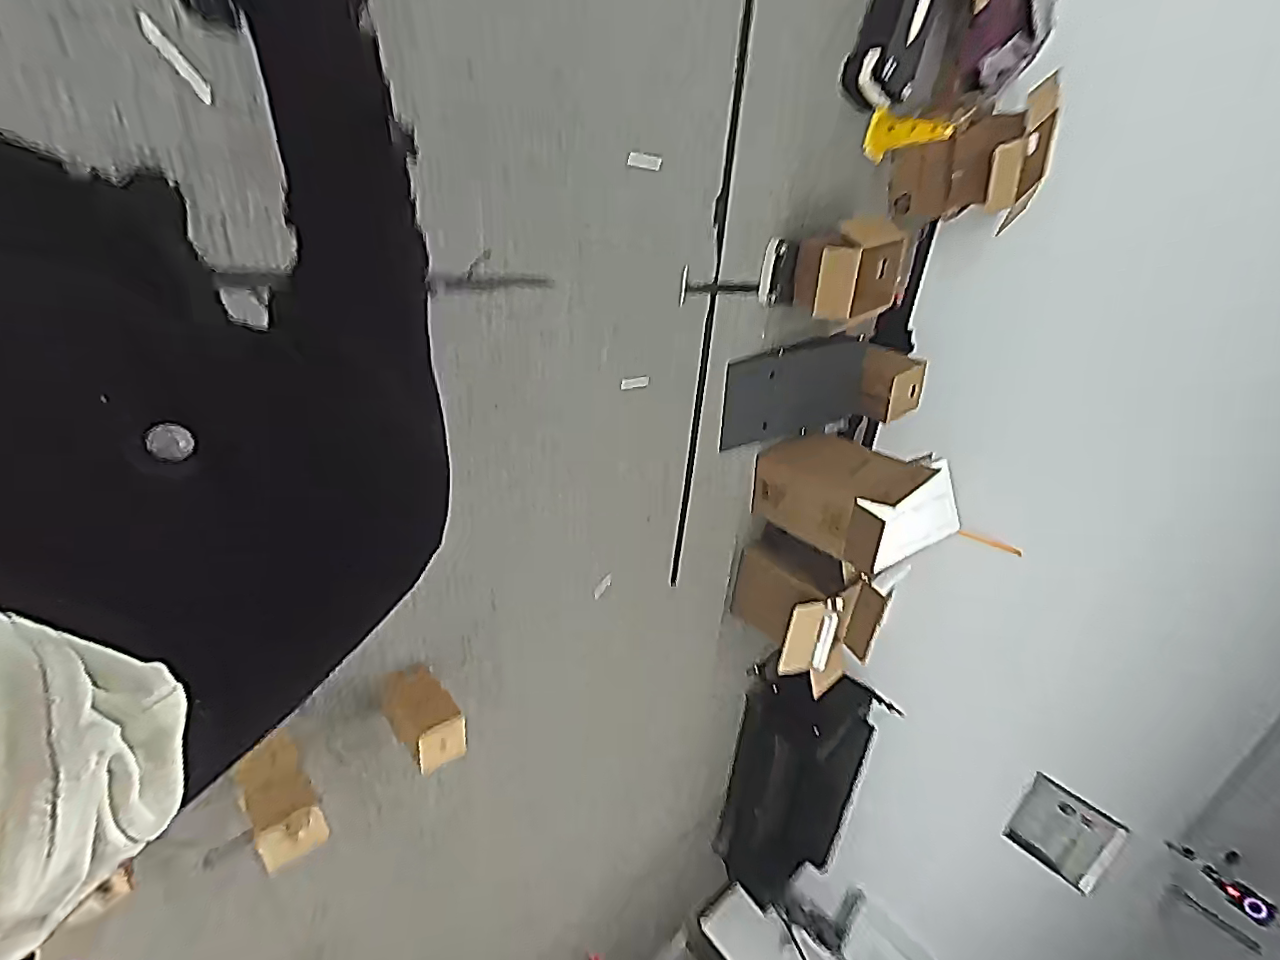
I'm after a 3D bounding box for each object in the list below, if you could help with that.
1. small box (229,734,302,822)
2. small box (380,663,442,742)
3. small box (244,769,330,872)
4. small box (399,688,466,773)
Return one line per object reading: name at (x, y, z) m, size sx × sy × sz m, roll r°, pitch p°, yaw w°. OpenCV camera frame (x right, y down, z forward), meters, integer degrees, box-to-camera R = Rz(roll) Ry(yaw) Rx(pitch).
small box at (-1.186, 0.952, 1.731) m, size 0.168 × 0.176 × 0.179 m, roll -21°, pitch 127°, yaw -37°
small box at (-0.847, 0.820, 2.007) m, size 0.168 × 0.176 × 0.179 m, roll -16°, pitch 123°, yaw -41°
small box at (-1.069, 1.016, 1.636) m, size 0.168 × 0.176 × 0.179 m, roll -20°, pitch 127°, yaw -38°
small box at (-0.730, 0.875, 1.904) m, size 0.168 × 0.176 × 0.179 m, roll -17°, pitch 123°, yaw -41°
